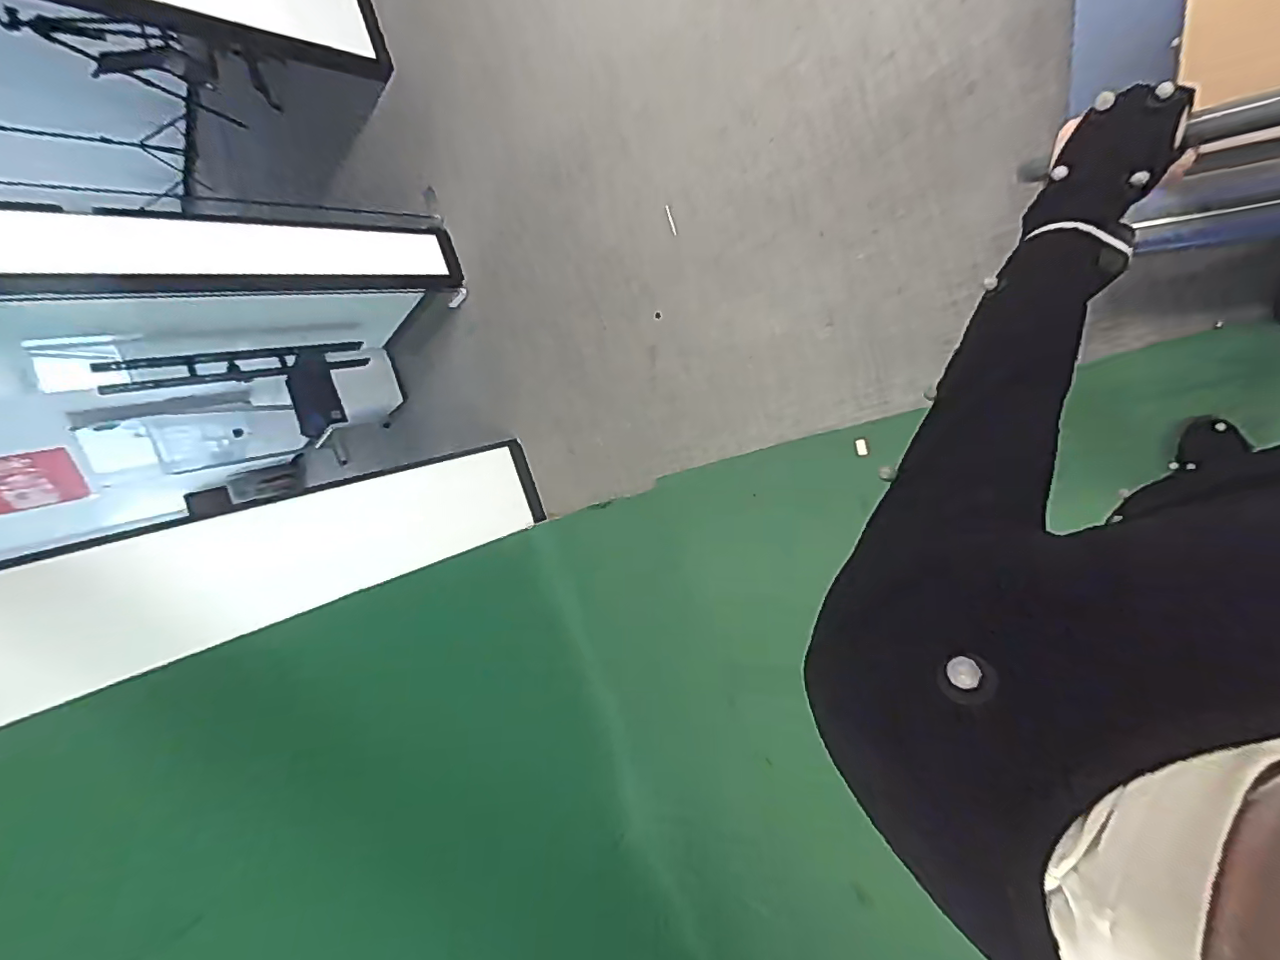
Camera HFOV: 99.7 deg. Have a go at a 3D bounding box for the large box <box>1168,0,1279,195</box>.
[{"bbox_3d":[0.933,-0.654,0.713,0.320,0.320,0.408,5,106,44],"label":"large box"}]
